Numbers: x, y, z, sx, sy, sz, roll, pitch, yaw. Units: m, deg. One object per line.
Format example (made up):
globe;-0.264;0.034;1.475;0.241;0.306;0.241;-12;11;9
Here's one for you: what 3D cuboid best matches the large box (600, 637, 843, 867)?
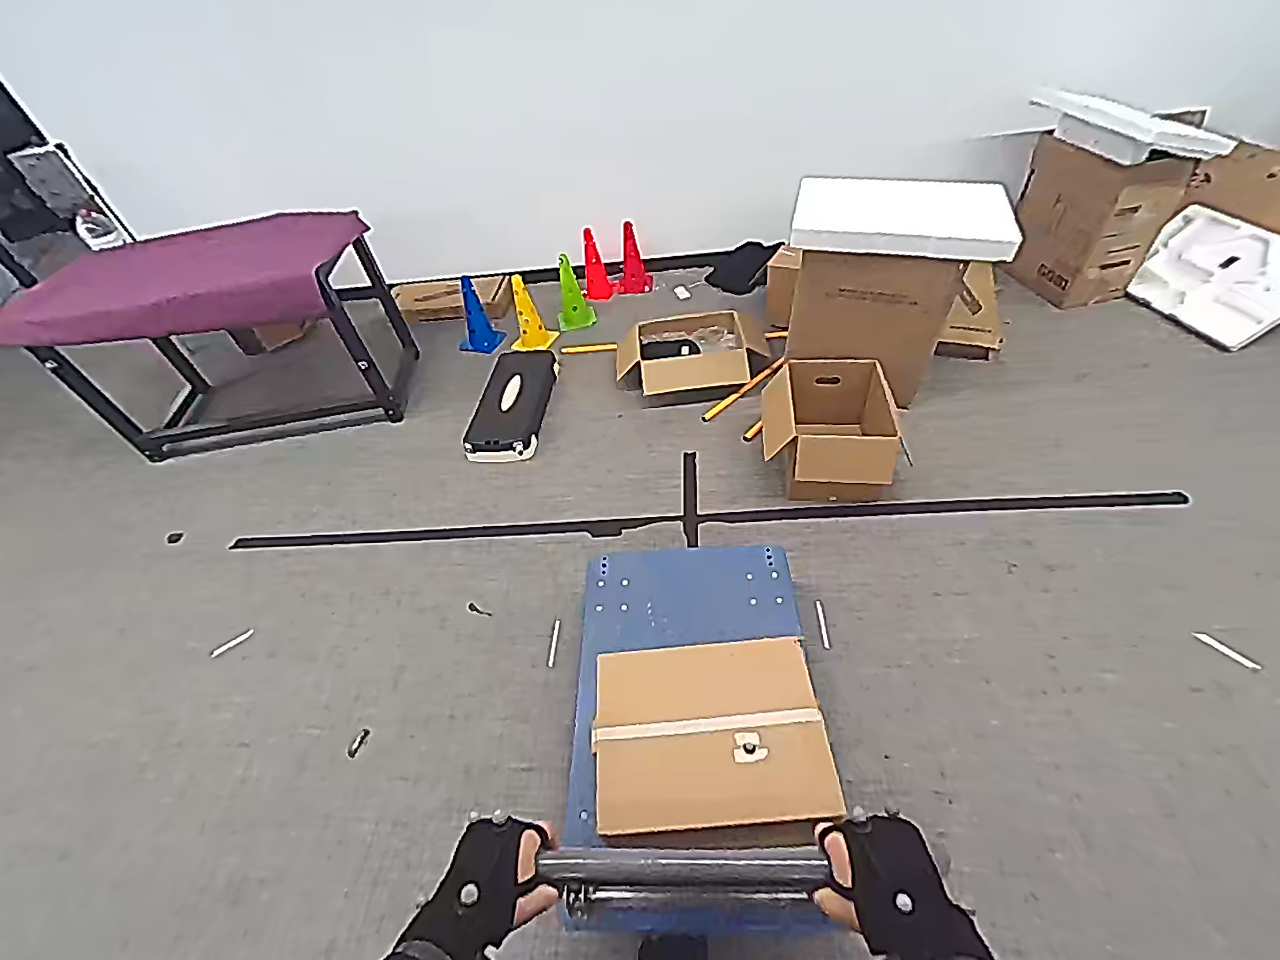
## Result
large box;0.138;0.551;1.090;0.408;0.320;0.320;-6;46;1
